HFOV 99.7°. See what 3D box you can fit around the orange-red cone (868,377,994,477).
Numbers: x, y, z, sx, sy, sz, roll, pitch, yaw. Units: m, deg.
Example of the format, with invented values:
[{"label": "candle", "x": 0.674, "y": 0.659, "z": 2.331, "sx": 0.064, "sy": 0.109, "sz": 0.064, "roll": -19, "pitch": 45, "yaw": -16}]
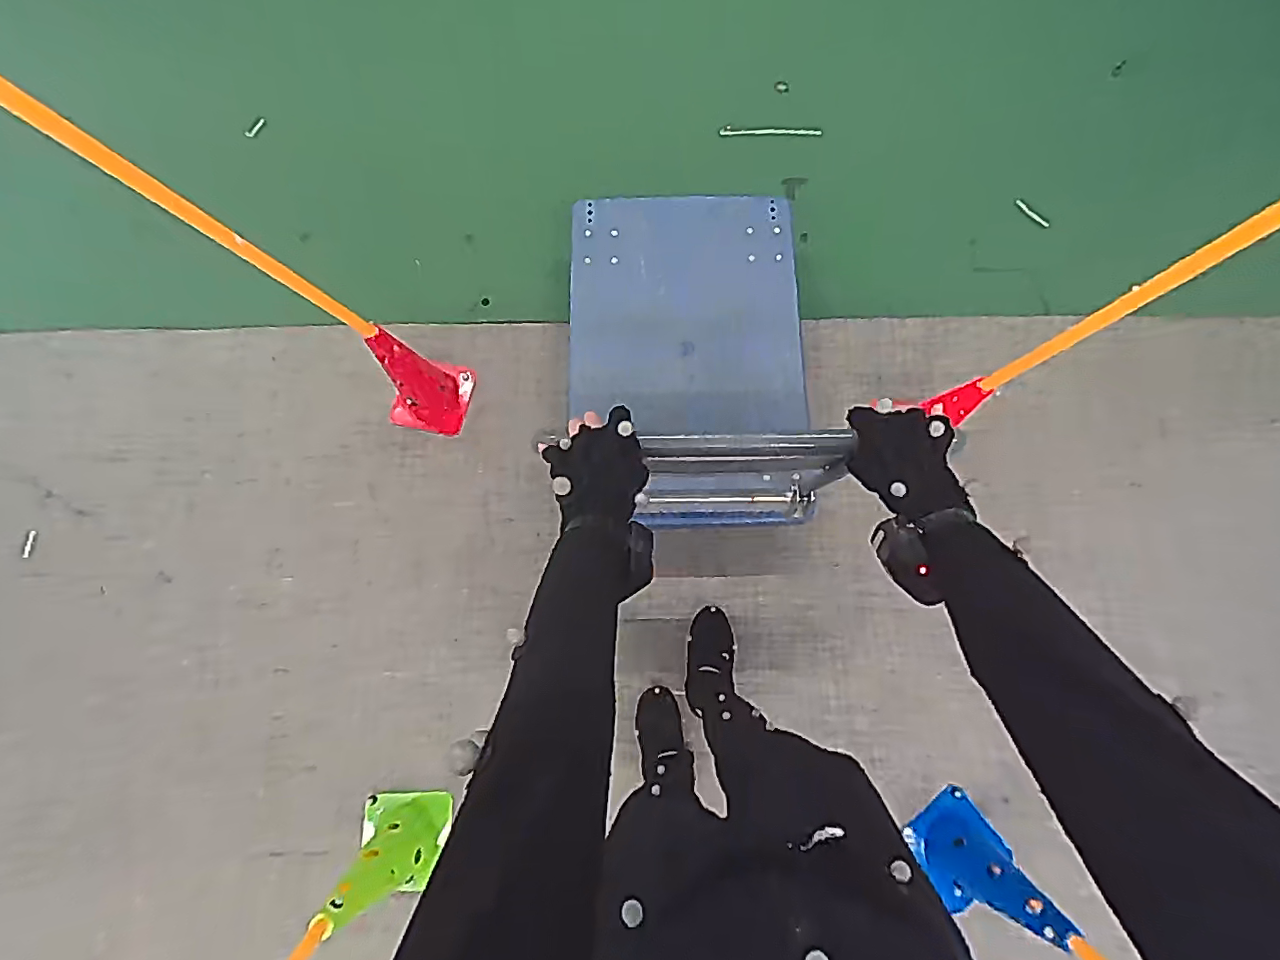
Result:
[{"label": "orange-red cone", "x": 0.718, "y": -0.154, "z": 1.289, "sx": 0.198, "sy": 0.360, "sz": 0.199, "roll": 10, "pitch": 77, "yaw": 3}]
